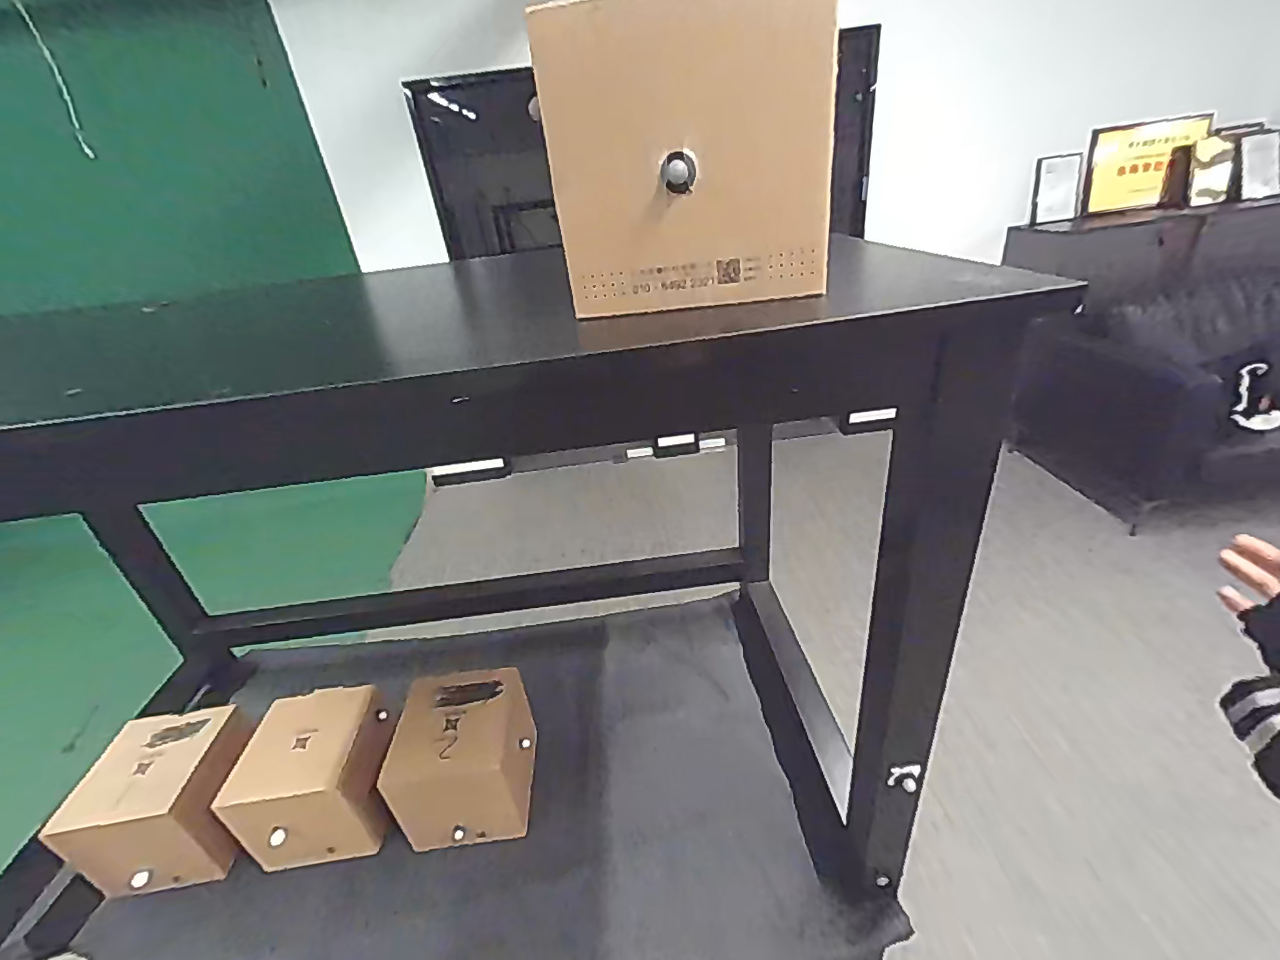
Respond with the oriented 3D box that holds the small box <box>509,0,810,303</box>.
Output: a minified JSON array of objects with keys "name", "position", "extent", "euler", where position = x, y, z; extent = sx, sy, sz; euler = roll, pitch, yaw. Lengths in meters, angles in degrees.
[{"name":"small box","position":[0.028,-0.229,0.389],"extent":[0.168,0.176,0.179],"euler":[-2,29,9]}]

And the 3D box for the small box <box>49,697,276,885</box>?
[{"name":"small box","position":[-0.695,0.467,0.821],"extent":[0.168,0.176,0.179],"euler":[-9,29,-2]}]
